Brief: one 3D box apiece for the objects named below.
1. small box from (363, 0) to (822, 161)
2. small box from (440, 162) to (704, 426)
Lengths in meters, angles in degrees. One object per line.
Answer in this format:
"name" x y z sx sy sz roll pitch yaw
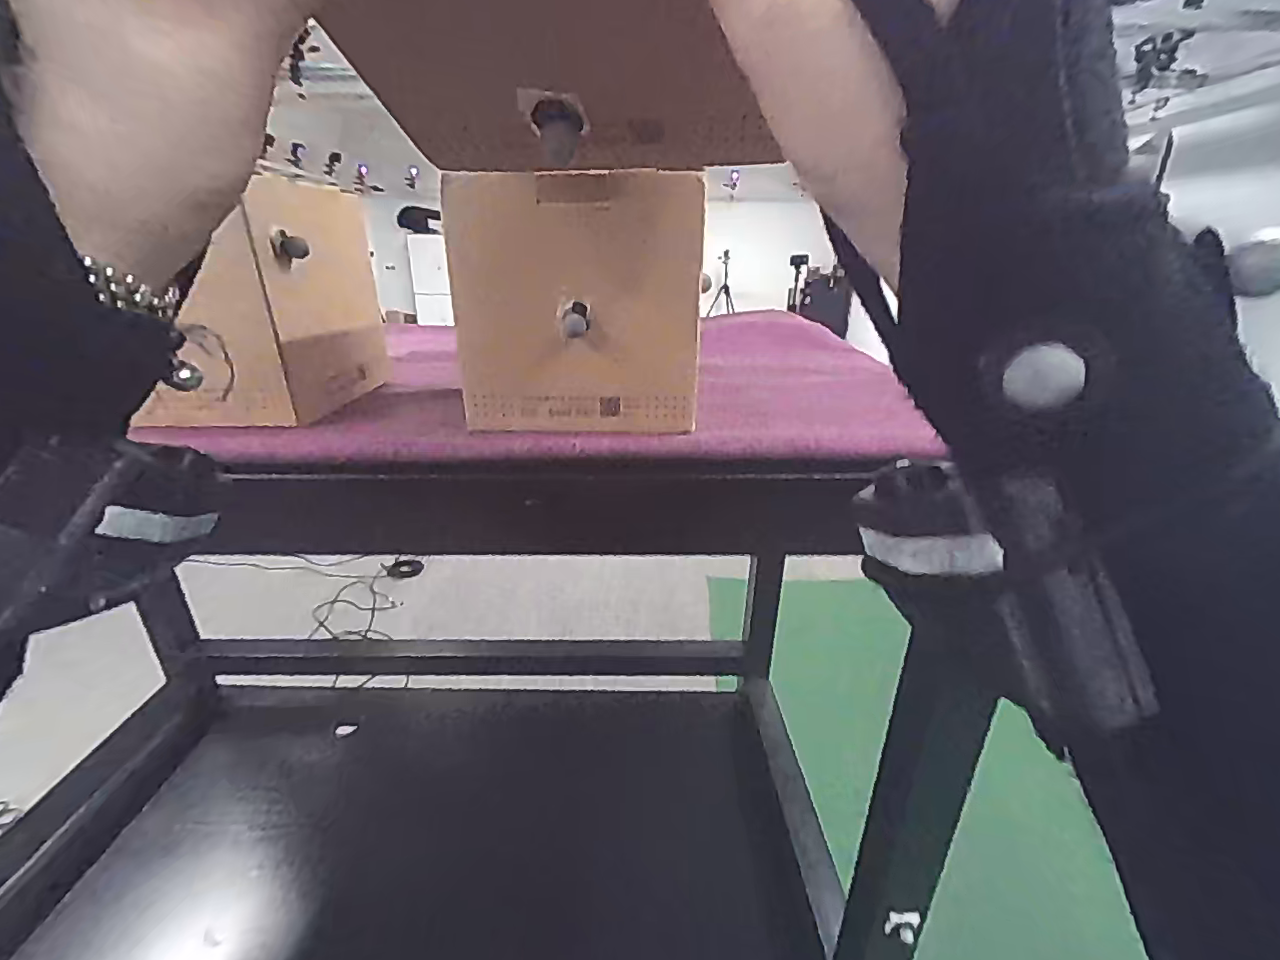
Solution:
"small box" -0.018 -0.242 0.179 0.168 0.179 0.176 2 -3 7
"small box" -0.038 -0.145 0.432 0.168 0.176 0.179 1 23 1
